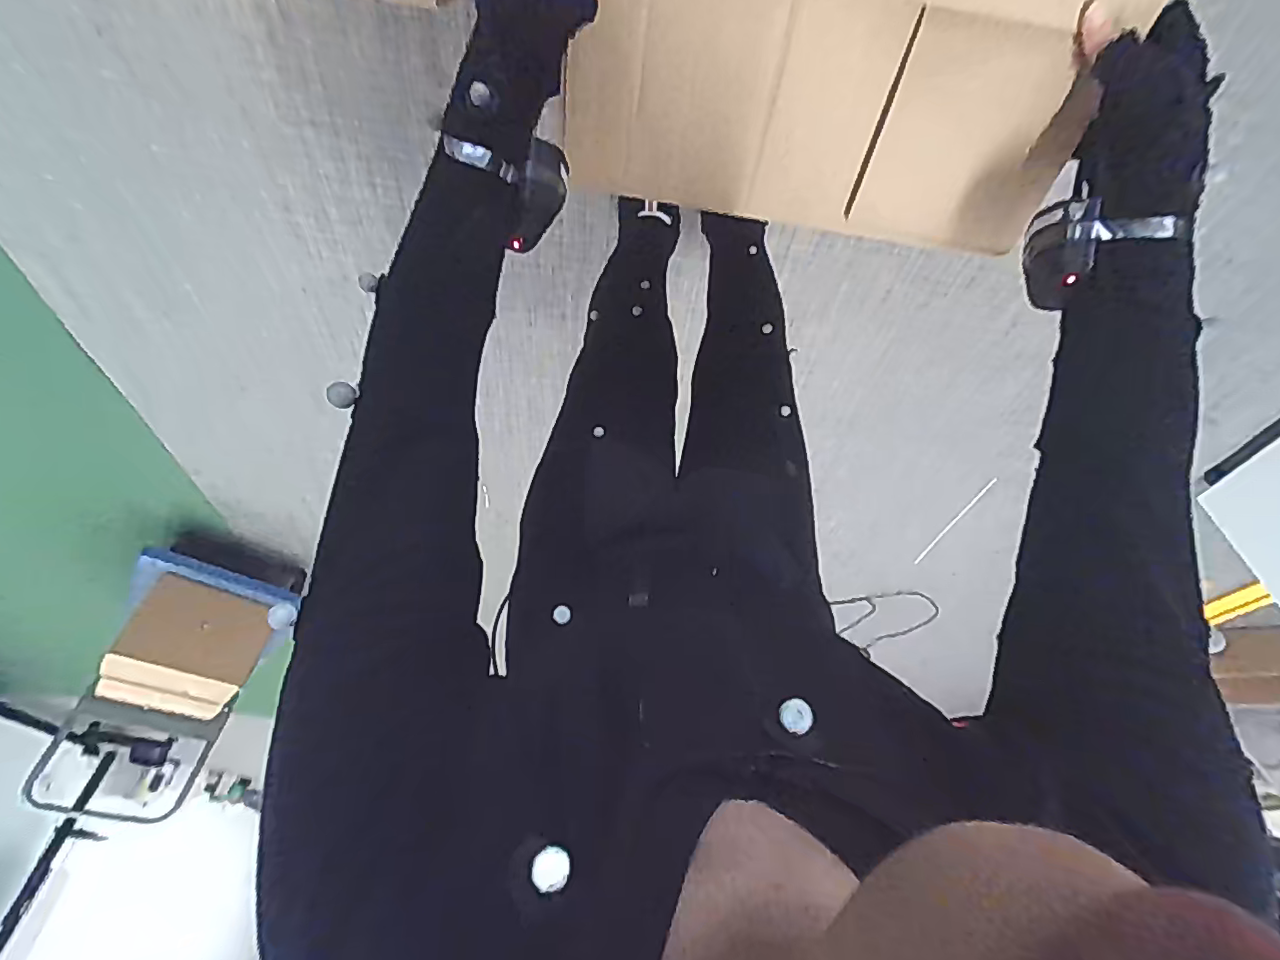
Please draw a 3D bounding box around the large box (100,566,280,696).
[{"bbox_3d":[-1.664,0.572,2.017,0.408,0.320,0.320,32,133,-30],"label":"large box"}]
